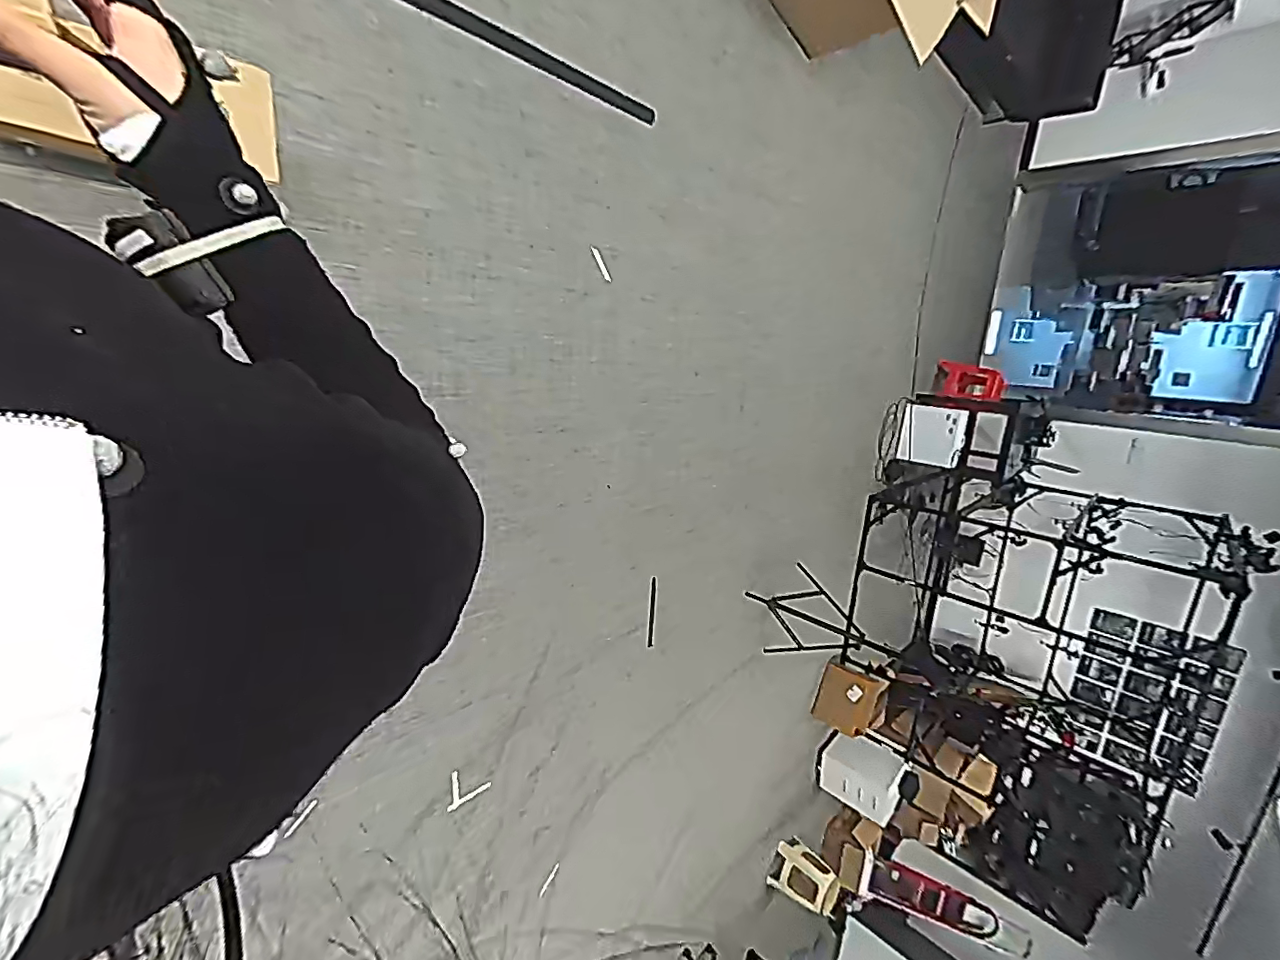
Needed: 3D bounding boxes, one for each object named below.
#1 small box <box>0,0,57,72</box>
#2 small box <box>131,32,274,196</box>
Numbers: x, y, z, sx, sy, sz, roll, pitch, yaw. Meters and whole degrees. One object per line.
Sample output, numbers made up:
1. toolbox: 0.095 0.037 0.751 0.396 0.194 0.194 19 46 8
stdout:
1. small box: -0.427 -0.330 0.264 0.179 0.176 0.168 -13 119 -44
2. small box: -0.749 -0.606 0.928 0.168 0.176 0.179 -9 110 -45
